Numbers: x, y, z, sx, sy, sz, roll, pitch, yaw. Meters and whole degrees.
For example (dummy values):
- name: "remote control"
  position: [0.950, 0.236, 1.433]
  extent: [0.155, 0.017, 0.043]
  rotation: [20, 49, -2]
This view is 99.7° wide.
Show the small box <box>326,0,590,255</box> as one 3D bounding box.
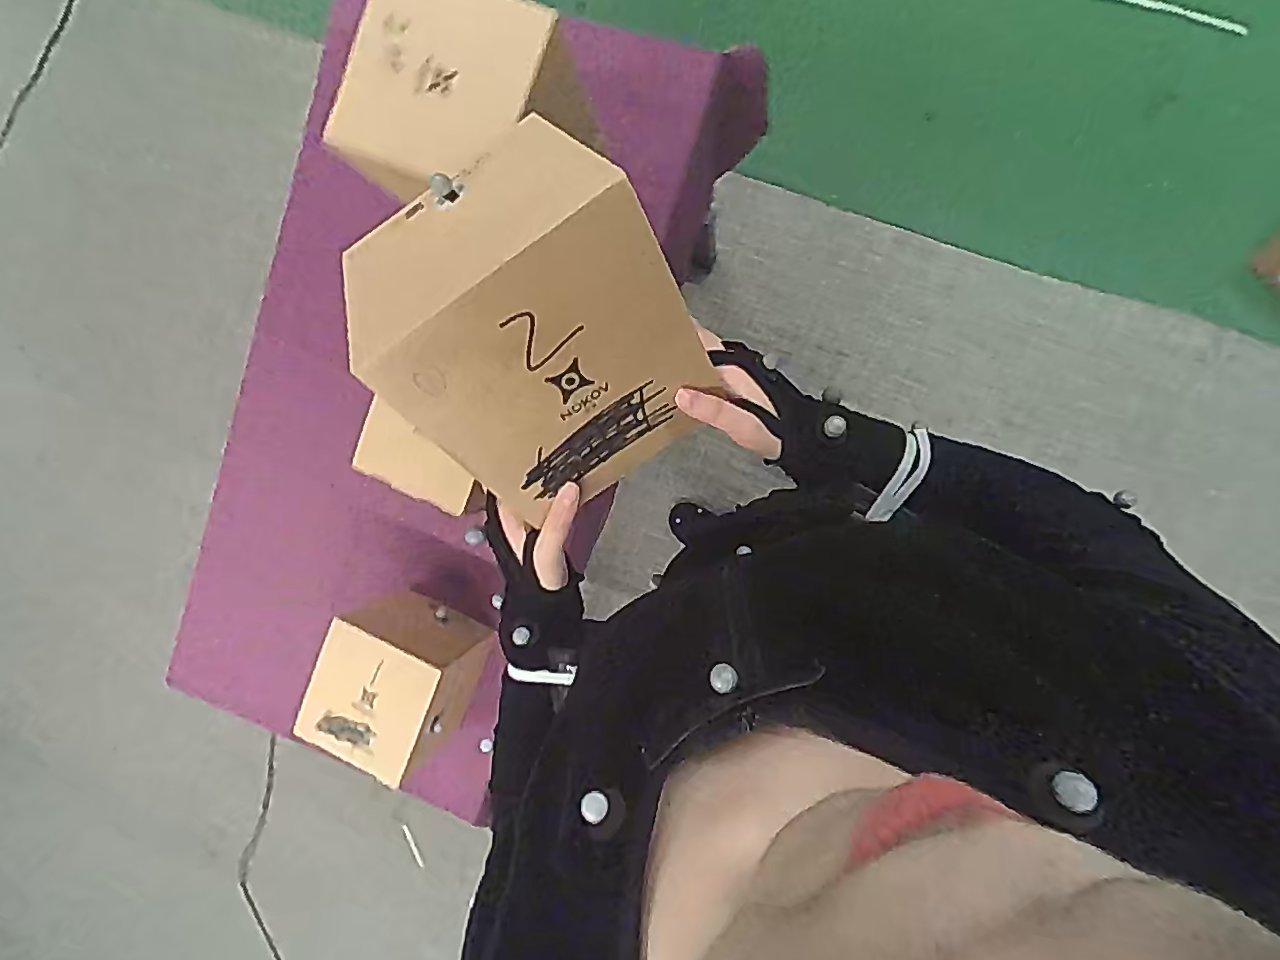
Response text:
- name: "small box"
  position: [-0.170, -0.358, 0.559]
  extent: [0.179, 0.176, 0.168]
  rotation: [23, 95, 7]

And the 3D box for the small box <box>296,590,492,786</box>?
- name: "small box"
  position: [-0.339, 0.283, 0.777]
  extent: [0.168, 0.176, 0.179]
  rotation: [22, 95, 8]

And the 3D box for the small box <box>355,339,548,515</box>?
- name: "small box"
  position: [-0.247, -0.071, 0.749]
  extent: [0.168, 0.176, 0.179]
  rotation: [23, 96, 8]

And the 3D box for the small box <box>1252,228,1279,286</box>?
- name: "small box"
  position: [1.535, -0.528, 1.178]
  extent: [0.179, 0.176, 0.168]
  rotation: [-44, 85, 8]
